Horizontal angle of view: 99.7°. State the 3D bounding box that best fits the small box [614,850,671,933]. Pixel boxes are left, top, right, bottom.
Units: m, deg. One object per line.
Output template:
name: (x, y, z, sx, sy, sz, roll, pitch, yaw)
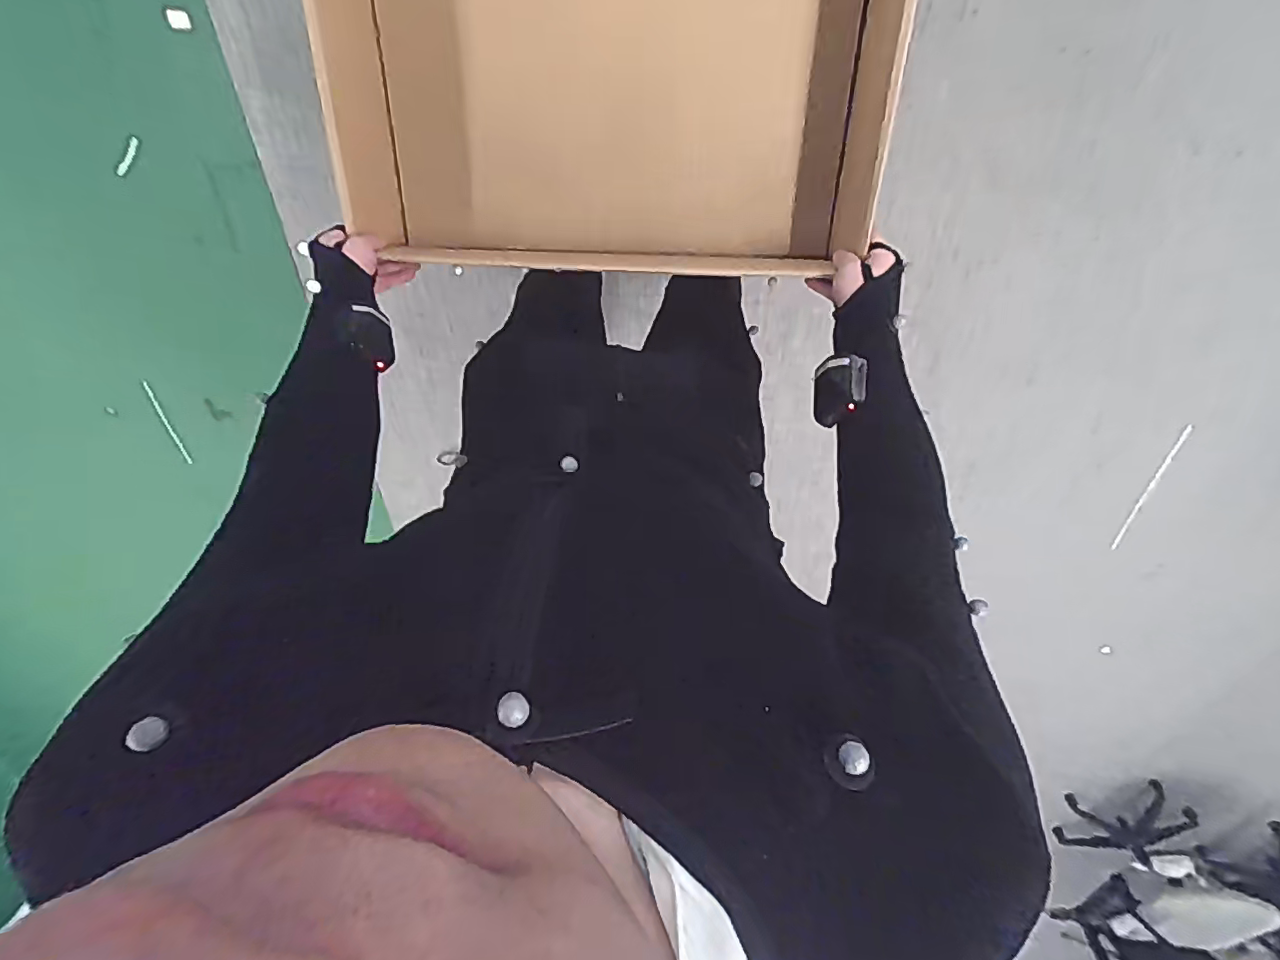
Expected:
small box: (0.011, 1.301, 1.713, 0.168, 0.176, 0.179, 1, 127, 5)
